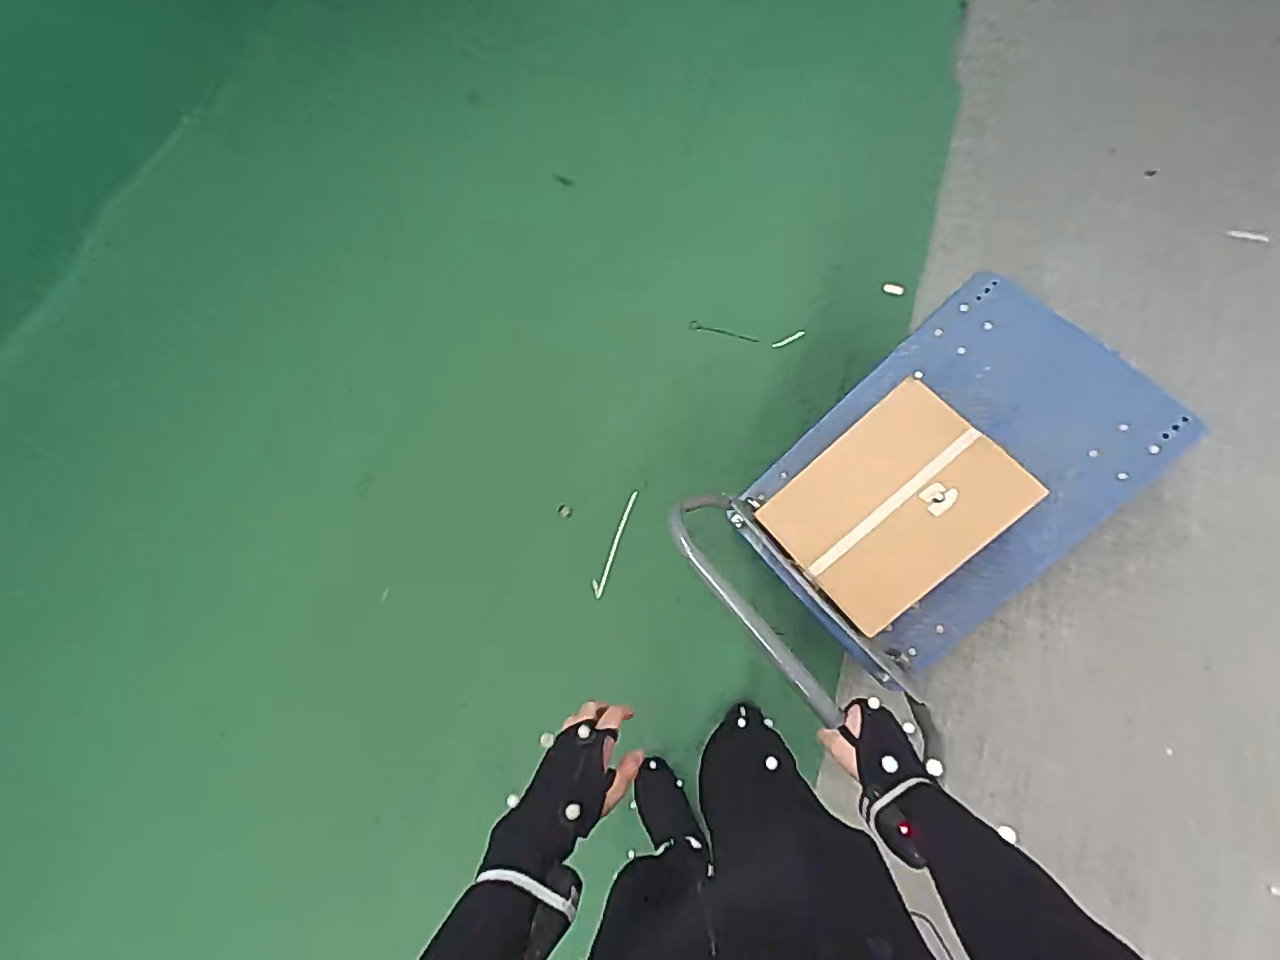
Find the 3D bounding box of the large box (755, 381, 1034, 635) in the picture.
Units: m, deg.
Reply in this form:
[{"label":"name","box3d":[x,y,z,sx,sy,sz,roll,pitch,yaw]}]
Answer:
[{"label":"large box","box3d":[0.509,0.073,1.165,0.408,0.320,0.320,-43,72,6]}]
